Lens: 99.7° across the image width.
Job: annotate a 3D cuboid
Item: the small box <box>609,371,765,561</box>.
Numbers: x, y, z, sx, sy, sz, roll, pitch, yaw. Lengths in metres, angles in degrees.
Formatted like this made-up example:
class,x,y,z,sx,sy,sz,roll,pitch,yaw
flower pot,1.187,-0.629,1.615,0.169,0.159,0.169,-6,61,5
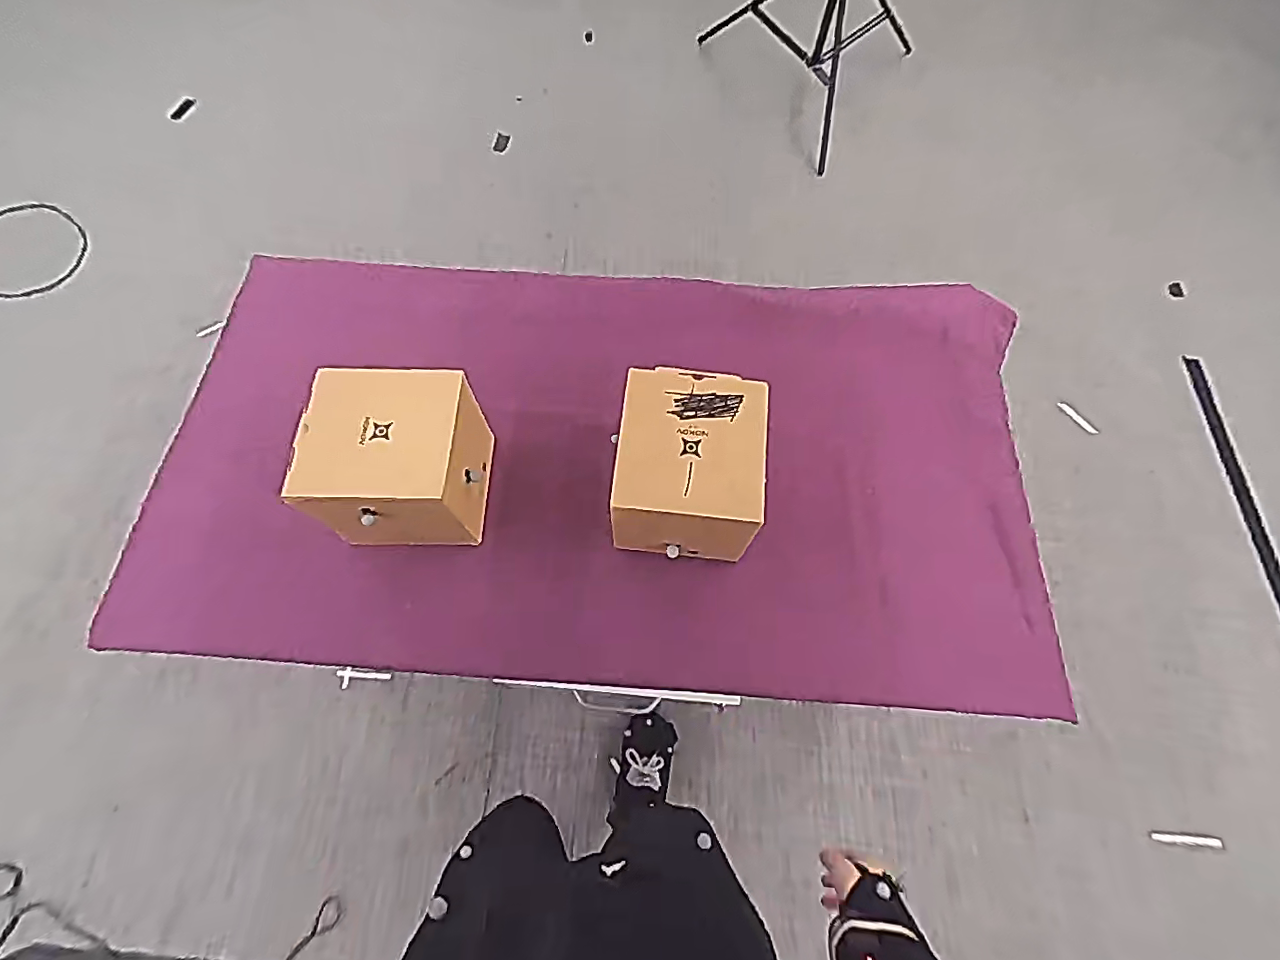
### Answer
class,x,y,z,sx,sy,sz,roll,pitch,yaw
small box,0.055,-0.011,0.681,0.168,0.176,0.179,6,68,2

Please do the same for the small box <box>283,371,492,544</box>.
class,x,y,z,sx,sy,sz,roll,pitch,yaw
small box,-0.296,-0.021,0.683,0.179,0.176,0.168,0,67,0
